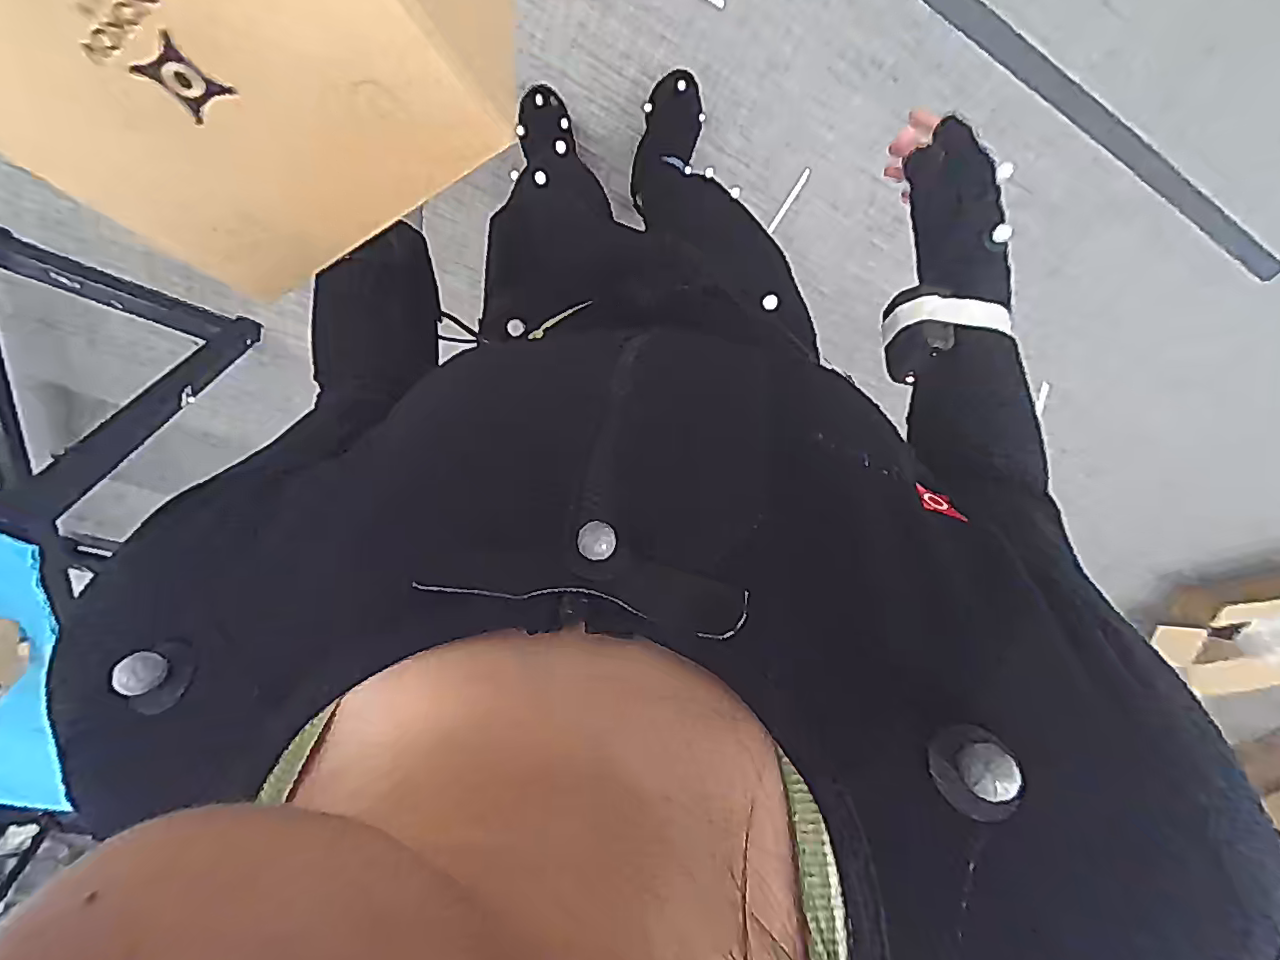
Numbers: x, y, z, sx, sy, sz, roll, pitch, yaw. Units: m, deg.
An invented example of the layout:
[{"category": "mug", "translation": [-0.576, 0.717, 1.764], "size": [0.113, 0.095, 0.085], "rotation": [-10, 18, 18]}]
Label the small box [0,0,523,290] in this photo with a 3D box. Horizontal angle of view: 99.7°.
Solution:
[{"category": "small box", "translation": [-0.167, -0.225, 0.224], "size": [0.168, 0.176, 0.179], "rotation": [-19, 152, 21]}]

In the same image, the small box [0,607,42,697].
[{"category": "small box", "translation": [-1.226, 0.320, 0.939], "size": [0.179, 0.176, 0.168], "rotation": [21, 127, -18]}]
